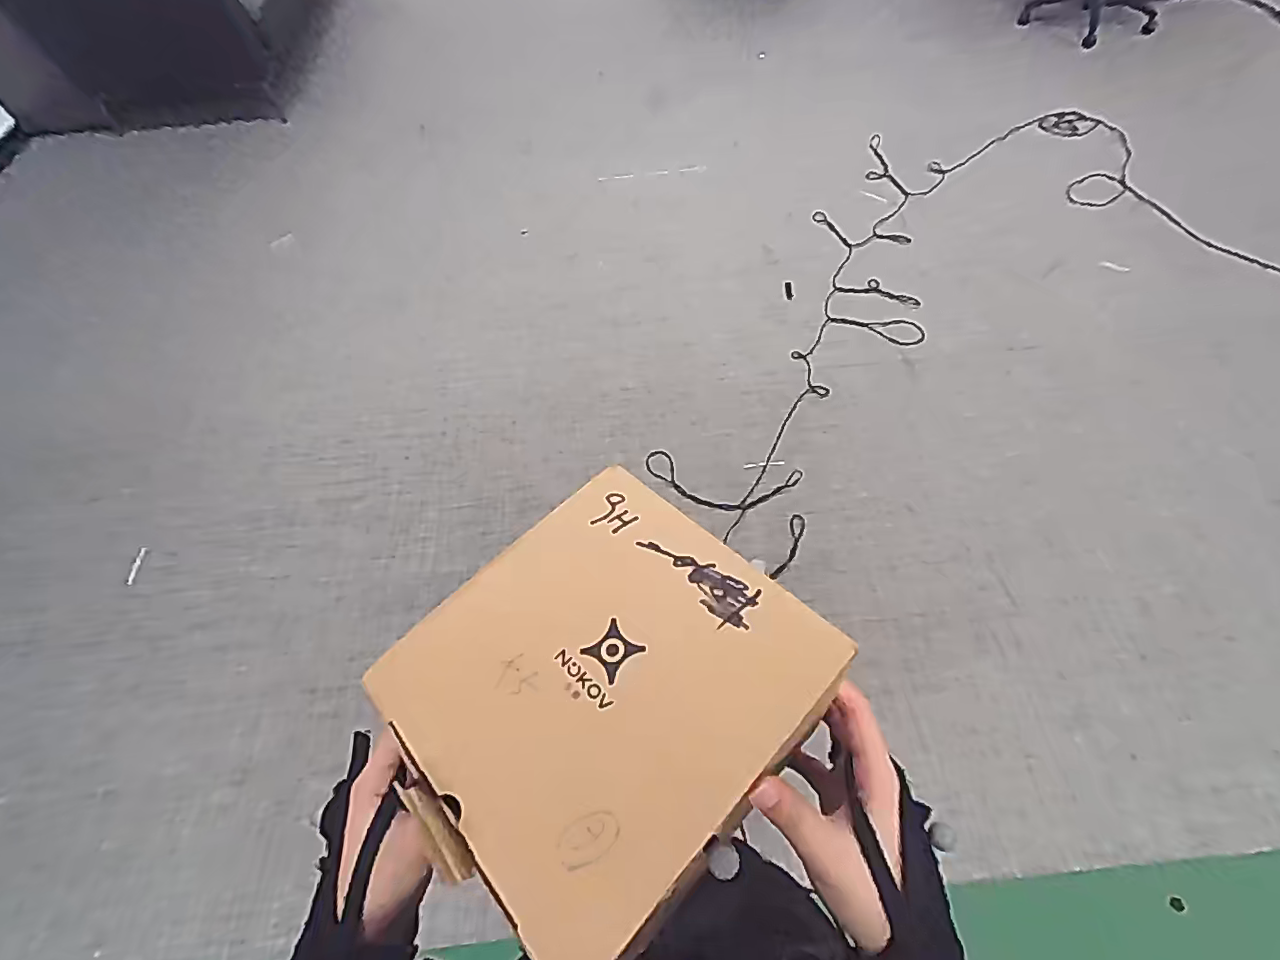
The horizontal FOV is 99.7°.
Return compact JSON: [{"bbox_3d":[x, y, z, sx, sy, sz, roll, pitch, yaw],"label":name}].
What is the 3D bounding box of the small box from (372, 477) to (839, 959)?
[{"bbox_3d":[-0.010,0.139,0.323,0.179,0.176,0.168,-41,58,-20],"label":"small box"}]
